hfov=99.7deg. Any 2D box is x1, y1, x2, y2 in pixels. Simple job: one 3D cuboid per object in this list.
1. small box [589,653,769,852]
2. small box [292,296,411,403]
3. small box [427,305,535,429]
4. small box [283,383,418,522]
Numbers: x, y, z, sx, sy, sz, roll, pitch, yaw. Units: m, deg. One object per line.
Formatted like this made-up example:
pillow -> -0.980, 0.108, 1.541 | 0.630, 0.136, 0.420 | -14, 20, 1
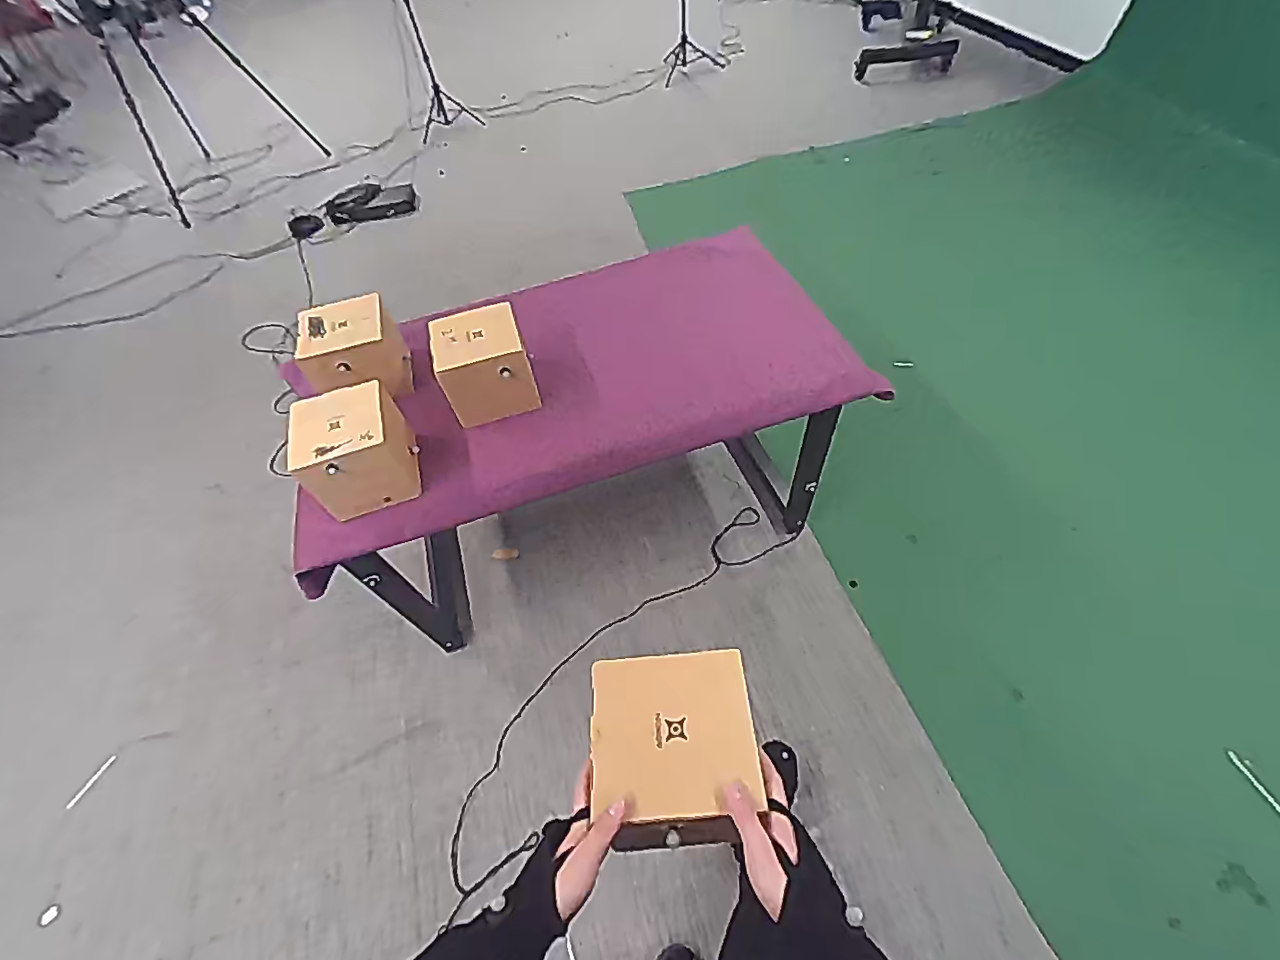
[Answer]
small box -> 0.041, 0.318, 0.627 | 0.179, 0.176, 0.168 | -7, 48, 3
small box -> -0.630, -0.272, 1.196 | 0.179, 0.176, 0.168 | -16, 56, -7
small box -> -0.328, -0.235, 1.140 | 0.179, 0.176, 0.168 | -16, 55, -7
small box -> -0.542, -0.050, 1.030 | 0.168, 0.176, 0.179 | -19, 54, -7
